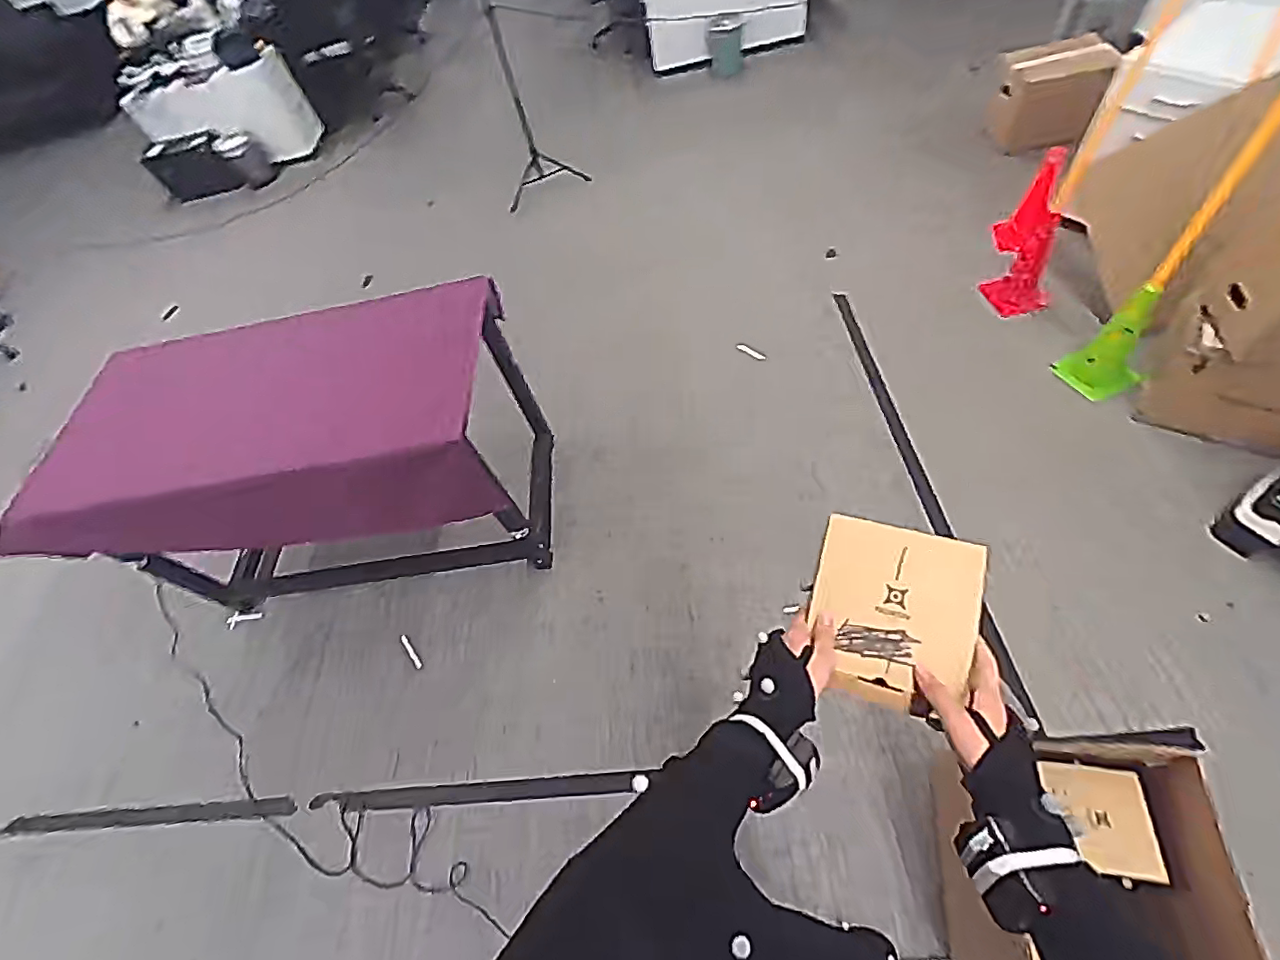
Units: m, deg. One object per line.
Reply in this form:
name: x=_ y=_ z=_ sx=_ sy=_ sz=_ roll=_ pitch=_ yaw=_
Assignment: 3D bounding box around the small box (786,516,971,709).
small box: x=0.278 y=0.166 z=0.658 sx=0.168 sy=0.176 sz=0.179 roll=12 pitch=70 yaw=18
